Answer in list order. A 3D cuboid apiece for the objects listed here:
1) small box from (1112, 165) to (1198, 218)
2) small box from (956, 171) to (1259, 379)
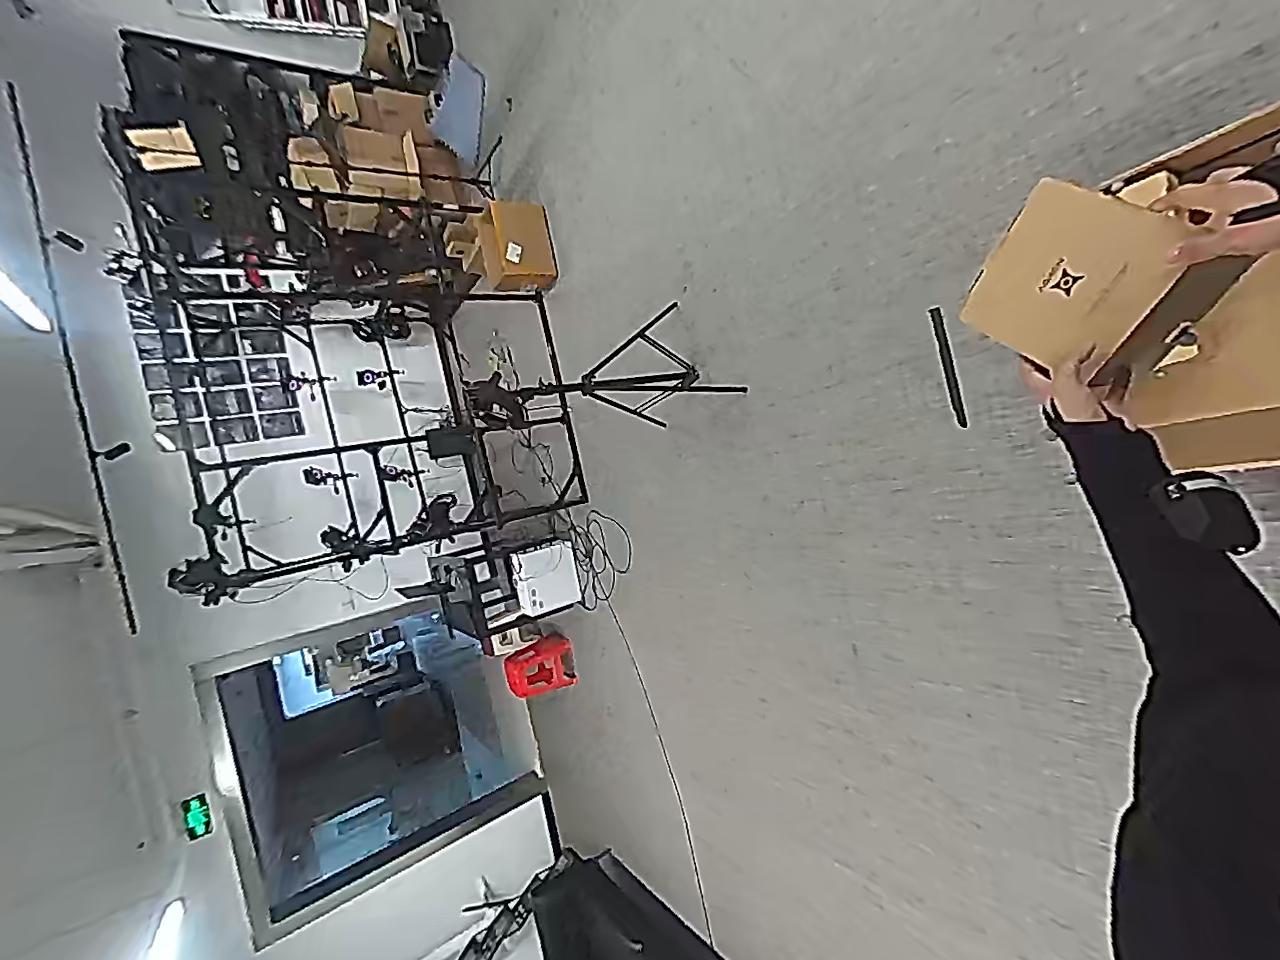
[{"bbox_3d":[1.019,-0.515,1.122,0.179,0.176,0.168,-12,92,55],"label":"small box"},{"bbox_3d":[0.525,-0.230,0.623,0.179,0.176,0.168,55,141,38],"label":"small box"}]
